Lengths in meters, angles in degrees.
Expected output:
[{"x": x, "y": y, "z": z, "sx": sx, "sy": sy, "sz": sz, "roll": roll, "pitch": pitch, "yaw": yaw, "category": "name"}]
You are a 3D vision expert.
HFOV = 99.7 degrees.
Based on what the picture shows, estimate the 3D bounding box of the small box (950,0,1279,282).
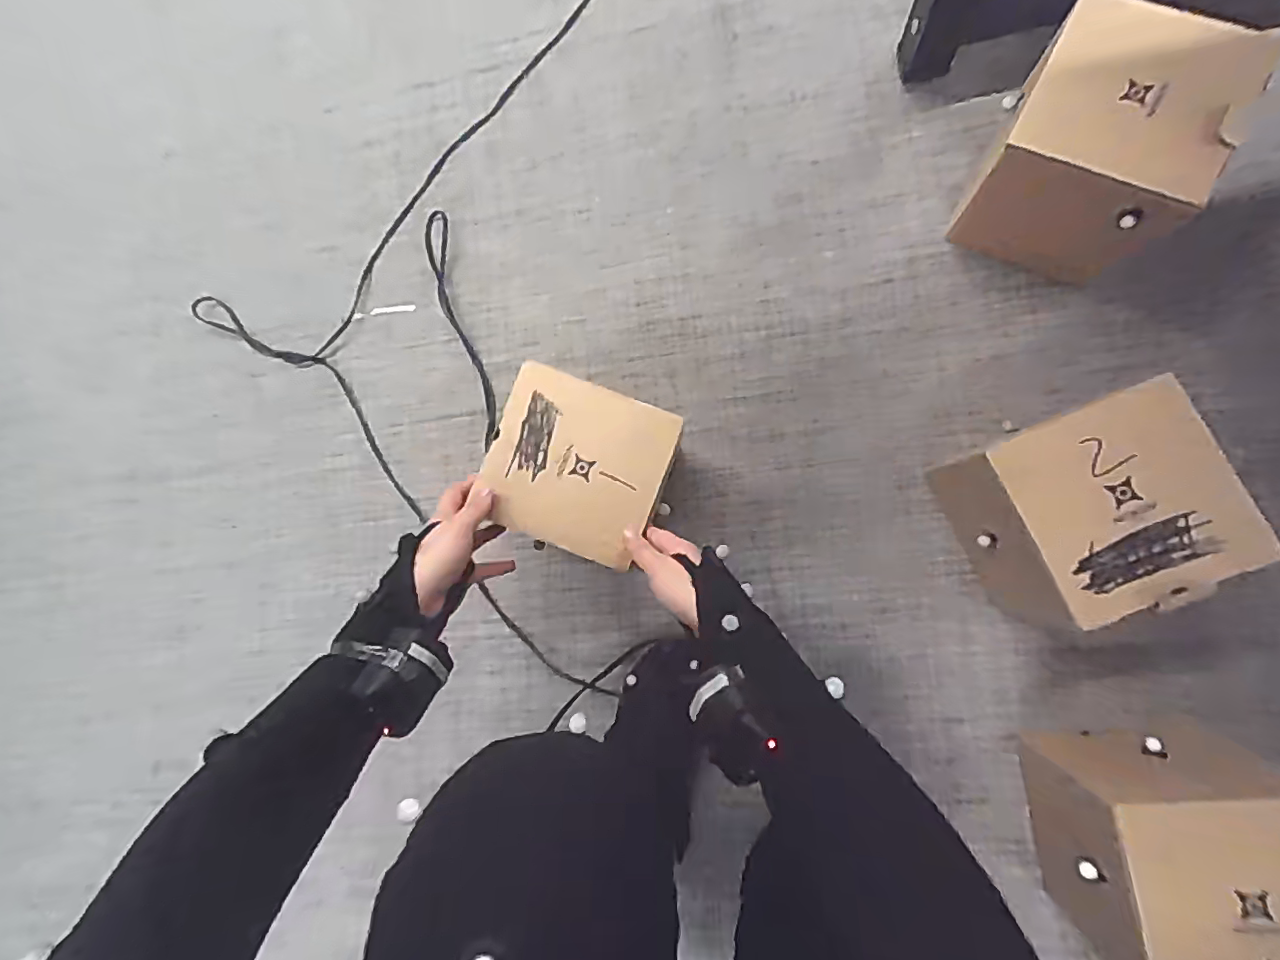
[{"x": 0.467, "y": -0.337, "z": 0.567, "sx": 0.179, "sy": 0.176, "sz": 0.168, "roll": 27, "pitch": 89, "yaw": 11, "category": "small box"}]

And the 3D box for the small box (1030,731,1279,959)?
[{"x": 0.495, "y": 0.343, "z": 0.492, "sx": 0.168, "sy": 0.176, "sz": 0.179, "roll": -9, "pitch": 84, "yaw": 10, "category": "small box"}]
